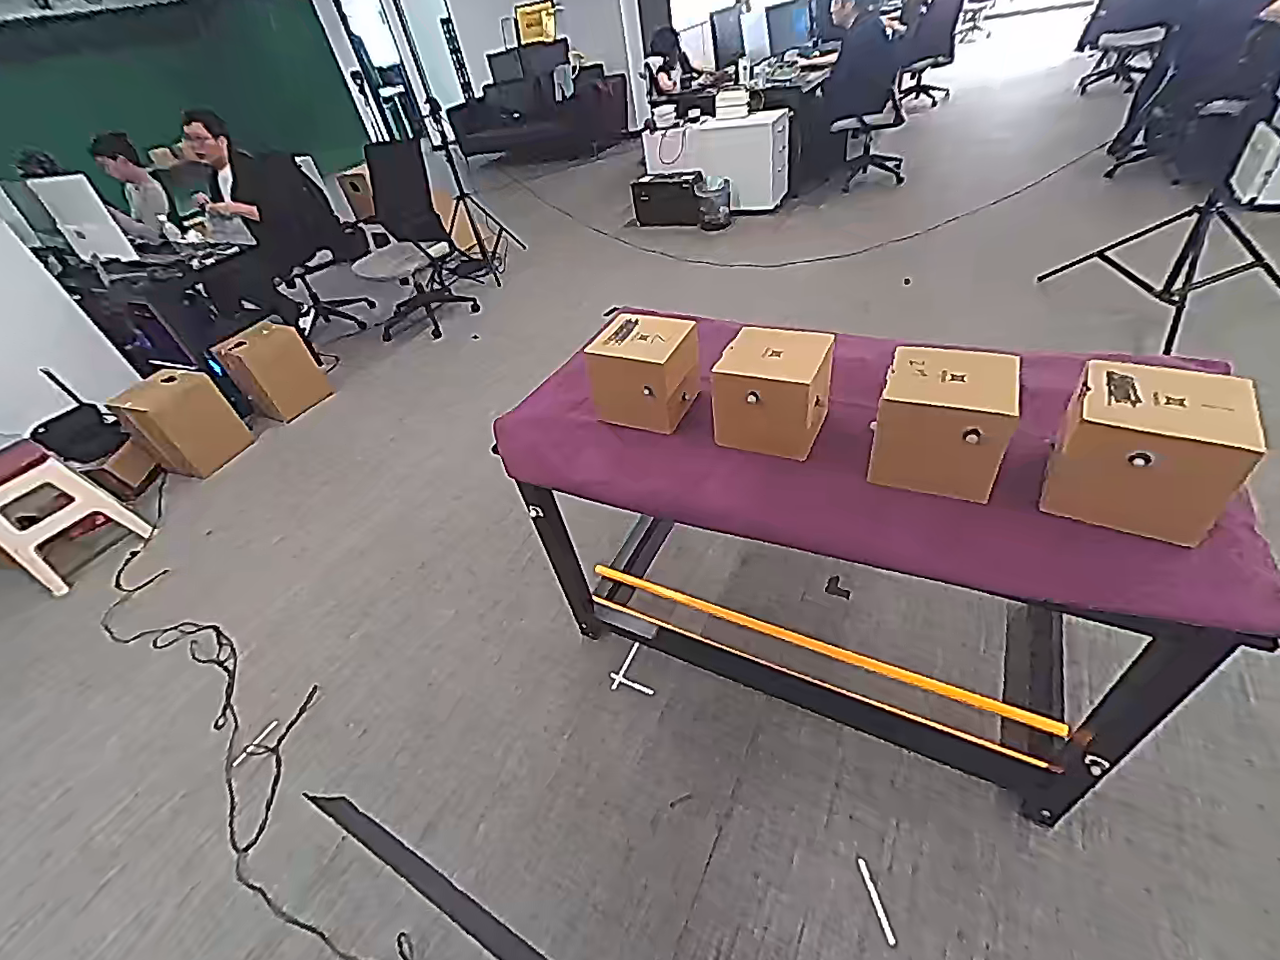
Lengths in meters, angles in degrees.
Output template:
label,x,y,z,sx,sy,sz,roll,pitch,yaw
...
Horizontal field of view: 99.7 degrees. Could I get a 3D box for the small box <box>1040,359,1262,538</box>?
label,x,y,z,sx,sy,sz,roll,pitch,yaw
small box,0.689,-0.045,0.751,0.179,0.176,0.168,18,49,30

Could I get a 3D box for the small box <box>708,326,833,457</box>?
label,x,y,z,sx,sy,sz,roll,pitch,yaw
small box,0.243,-0.163,1.000,0.179,0.176,0.168,13,47,27

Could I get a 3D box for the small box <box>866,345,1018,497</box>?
label,x,y,z,sx,sy,sz,roll,pitch,yaw
small box,0.474,-0.094,0.860,0.179,0.176,0.168,12,45,26
